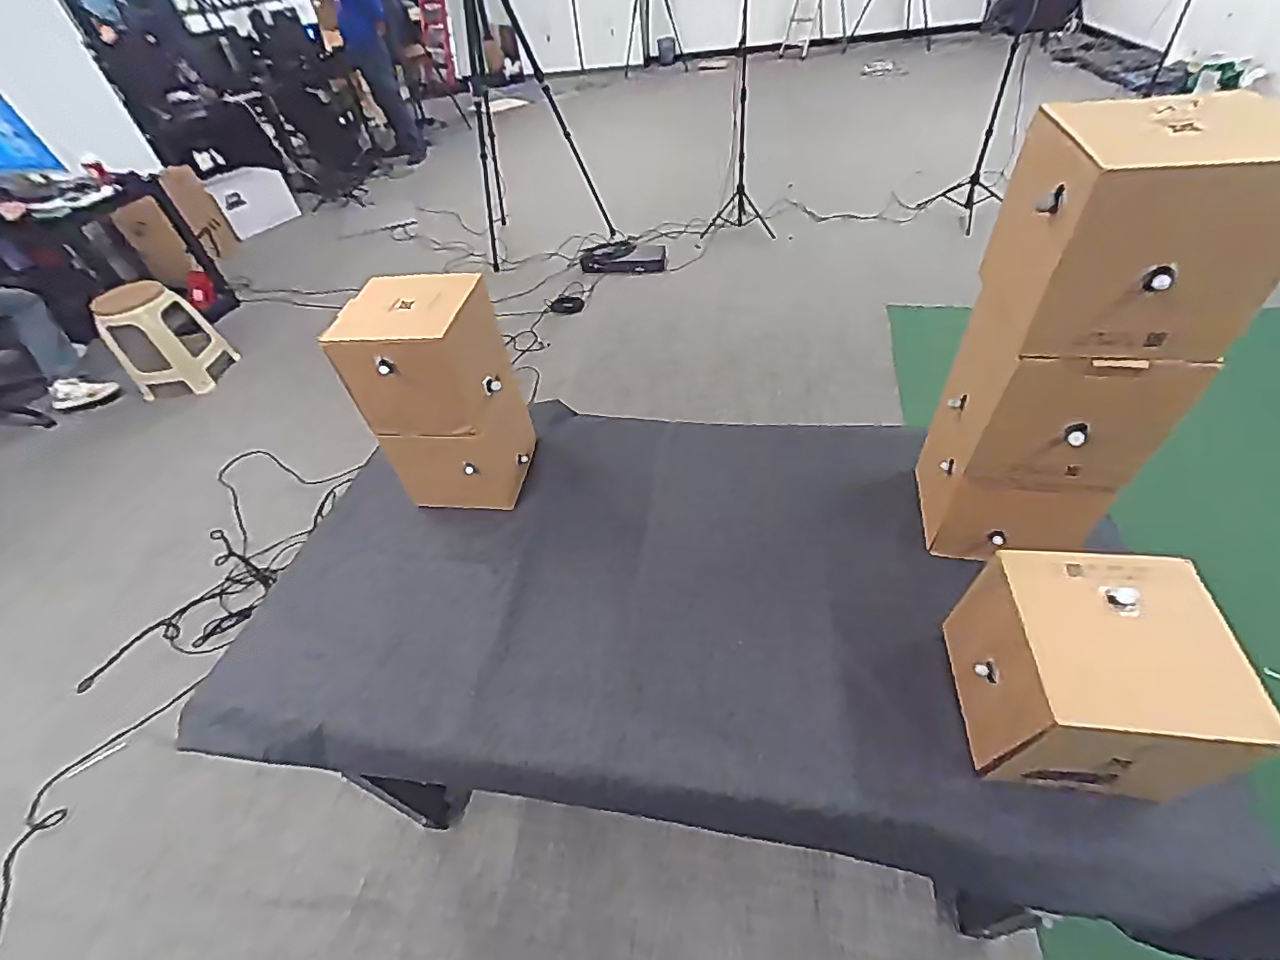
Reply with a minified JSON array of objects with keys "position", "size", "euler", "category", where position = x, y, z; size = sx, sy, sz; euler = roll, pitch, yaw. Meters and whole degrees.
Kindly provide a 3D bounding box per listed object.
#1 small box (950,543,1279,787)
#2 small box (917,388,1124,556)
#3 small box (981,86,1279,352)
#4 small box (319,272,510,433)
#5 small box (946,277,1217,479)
[{"position":[0.430,0.183,0.534],"size":[0.168,0.179,0.176],"euler":[2,50,9],"category":"small box"},{"position":[0.492,-0.012,0.737],"size":[0.168,0.176,0.179],"euler":[5,48,13],"category":"small box"},{"position":[0.445,-0.233,0.497],"size":[0.168,0.176,0.179],"euler":[4,48,12],"category":"small box"},{"position":[-0.311,-0.183,0.788],"size":[0.179,0.176,0.168],"euler":[1,49,8],"category":"small box"},{"position":[0.470,-0.120,0.616],"size":[0.168,0.176,0.179],"euler":[5,49,13],"category":"small box"}]
